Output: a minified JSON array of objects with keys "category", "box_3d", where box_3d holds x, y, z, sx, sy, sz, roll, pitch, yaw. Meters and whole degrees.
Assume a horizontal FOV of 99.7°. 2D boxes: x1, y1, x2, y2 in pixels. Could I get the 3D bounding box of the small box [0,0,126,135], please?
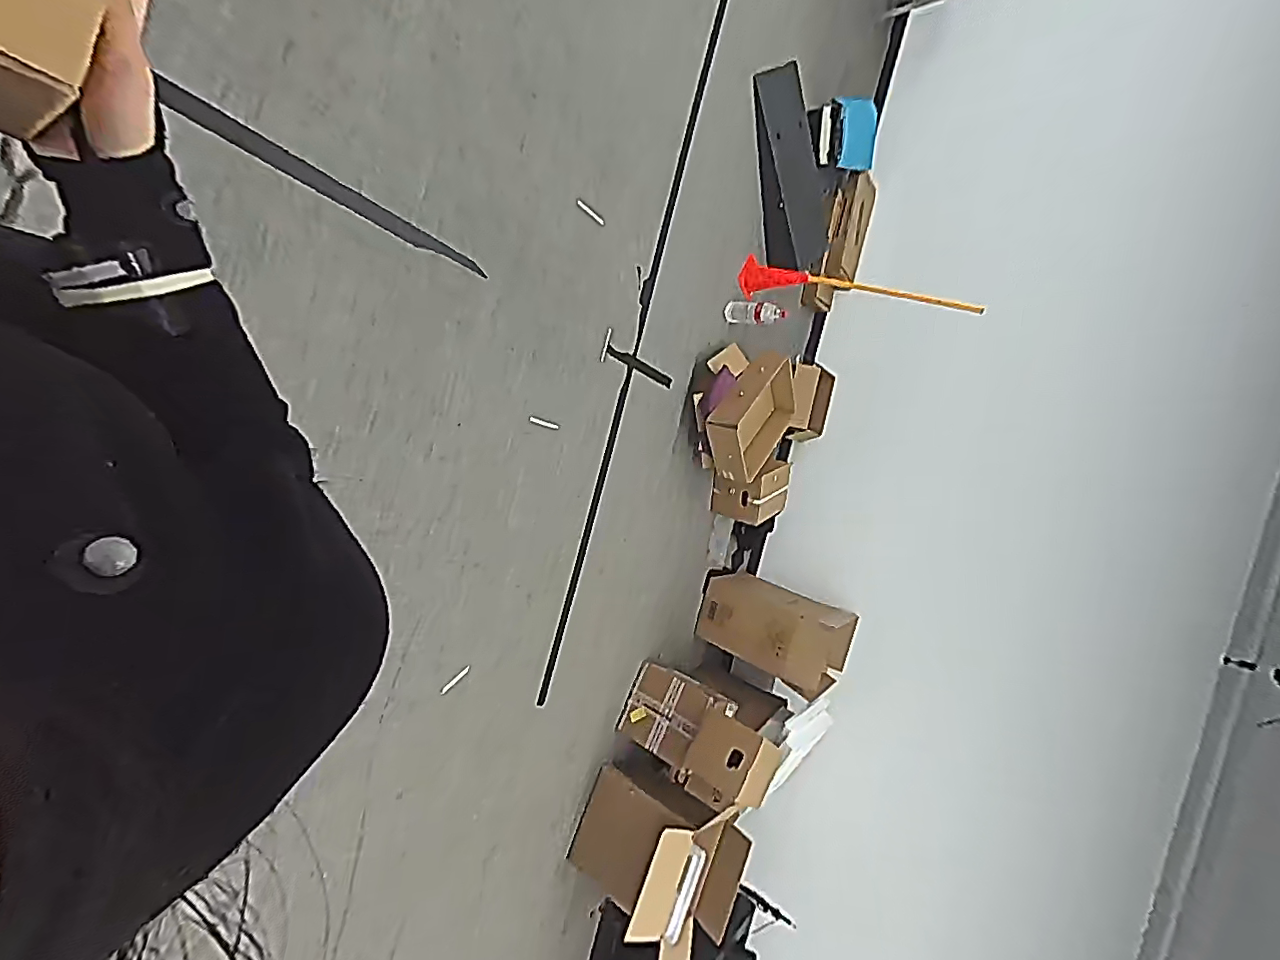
[{"category":"small box","box_3d":[-0.305,-0.266,0.200,0.168,0.176,0.179,16,90,-56]}]
